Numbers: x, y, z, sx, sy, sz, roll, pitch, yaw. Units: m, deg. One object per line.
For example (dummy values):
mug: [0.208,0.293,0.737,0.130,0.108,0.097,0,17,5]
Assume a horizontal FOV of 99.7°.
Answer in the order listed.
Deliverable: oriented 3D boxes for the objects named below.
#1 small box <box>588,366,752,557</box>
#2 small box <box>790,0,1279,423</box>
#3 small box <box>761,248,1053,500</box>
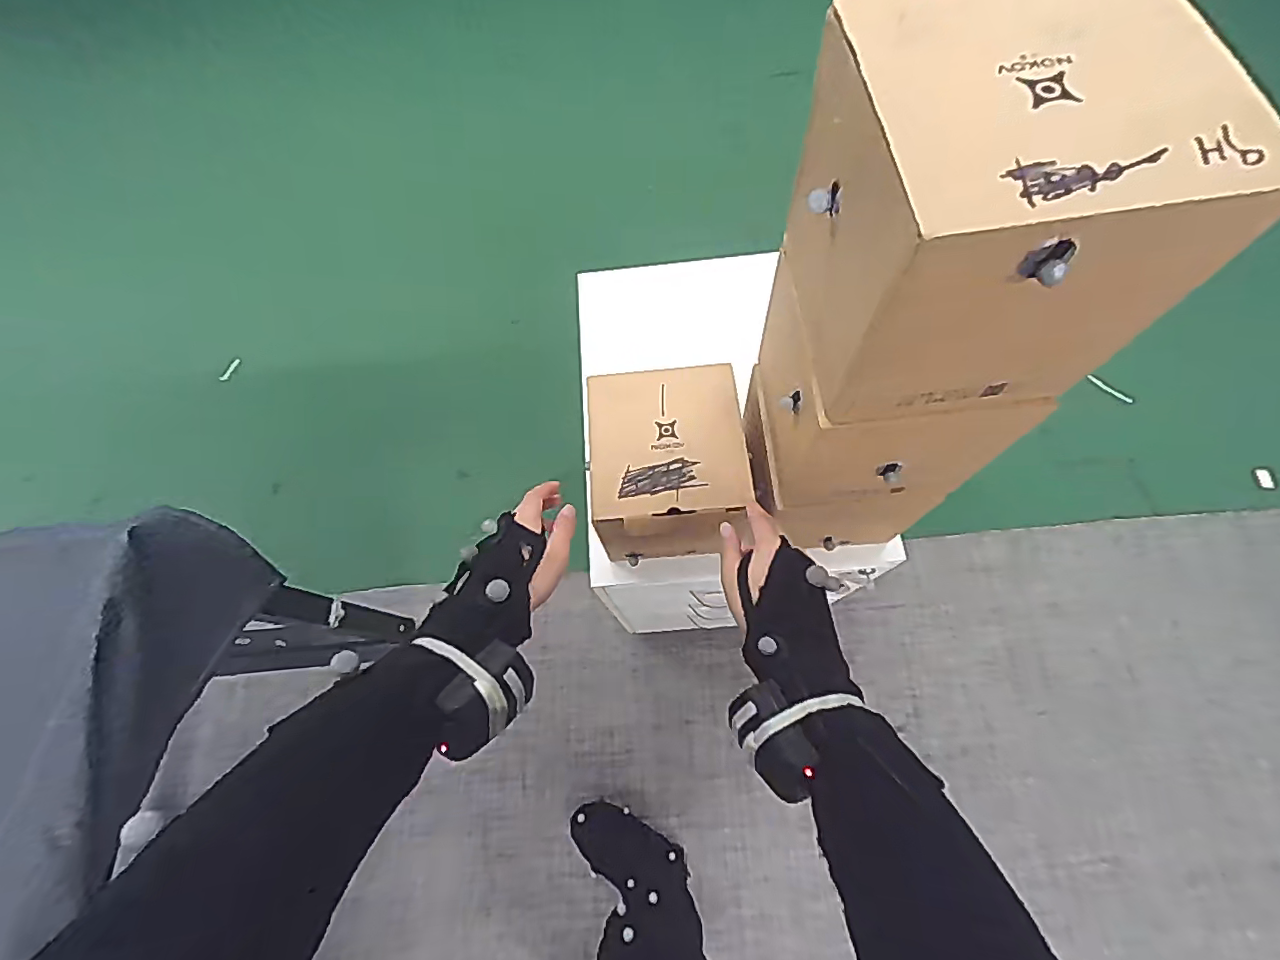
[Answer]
small box: [0.032,-0.011,0.643,0.168,0.176,0.179,-4,67,1]
small box: [0.201,-0.157,0.335,0.168,0.176,0.179,-6,67,2]
small box: [0.209,-0.087,0.484,0.168,0.176,0.179,-4,67,2]
